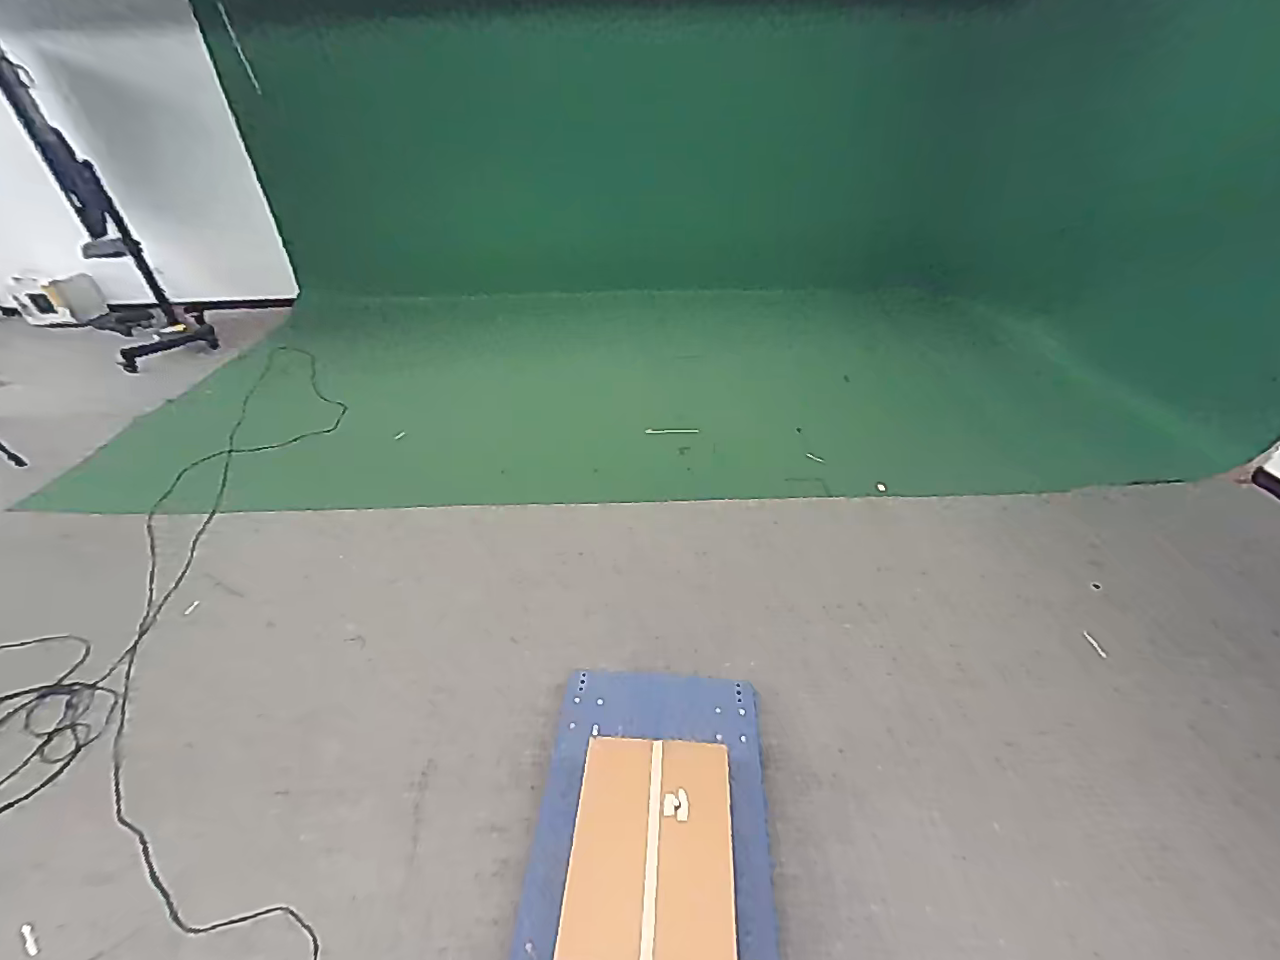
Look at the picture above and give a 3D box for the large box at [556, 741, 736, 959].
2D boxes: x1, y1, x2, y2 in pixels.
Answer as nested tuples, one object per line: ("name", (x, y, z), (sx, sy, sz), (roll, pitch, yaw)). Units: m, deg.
("large box", (0.025, 0.839, 1.155), (0.320, 0.320, 0.408), (2, 36, 4))
